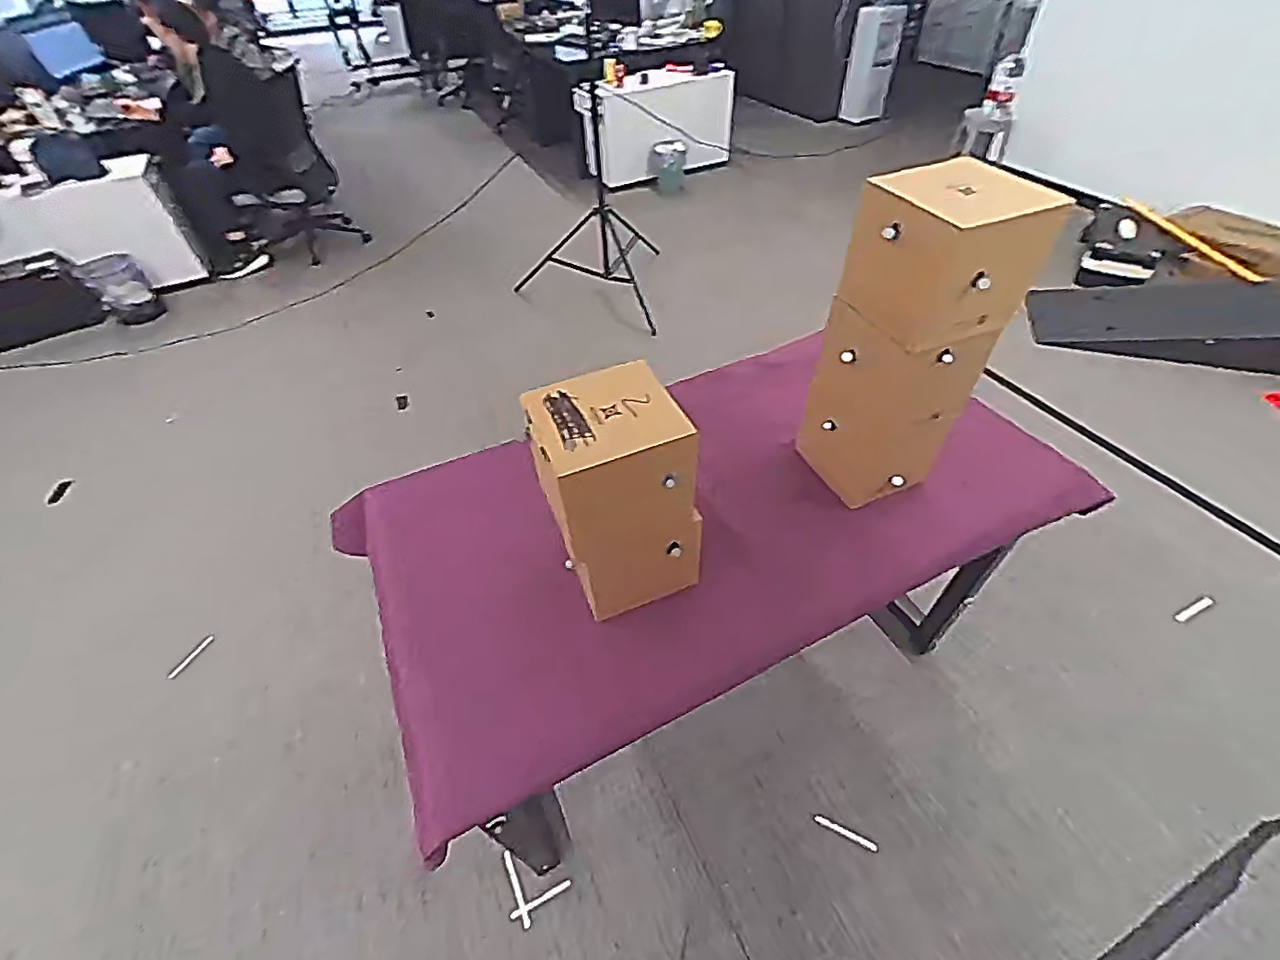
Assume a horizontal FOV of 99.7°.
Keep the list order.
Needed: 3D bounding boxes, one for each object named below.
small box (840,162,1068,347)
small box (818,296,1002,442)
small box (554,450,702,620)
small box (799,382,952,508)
[{"bbox_3d":[0.399,-0.296,0.724,0.168,0.176,0.179,-18,48,-12],"label":"small box"},{"bbox_3d":[0.403,-0.189,0.848,0.168,0.176,0.179,-18,48,-12],"label":"small box"},{"bbox_3d":[-0.019,0.087,0.840,0.179,0.176,0.168,-19,48,-13],"label":"small box"},{"bbox_3d":[0.408,-0.081,0.971,0.168,0.176,0.179,-19,49,-14],"label":"small box"}]
